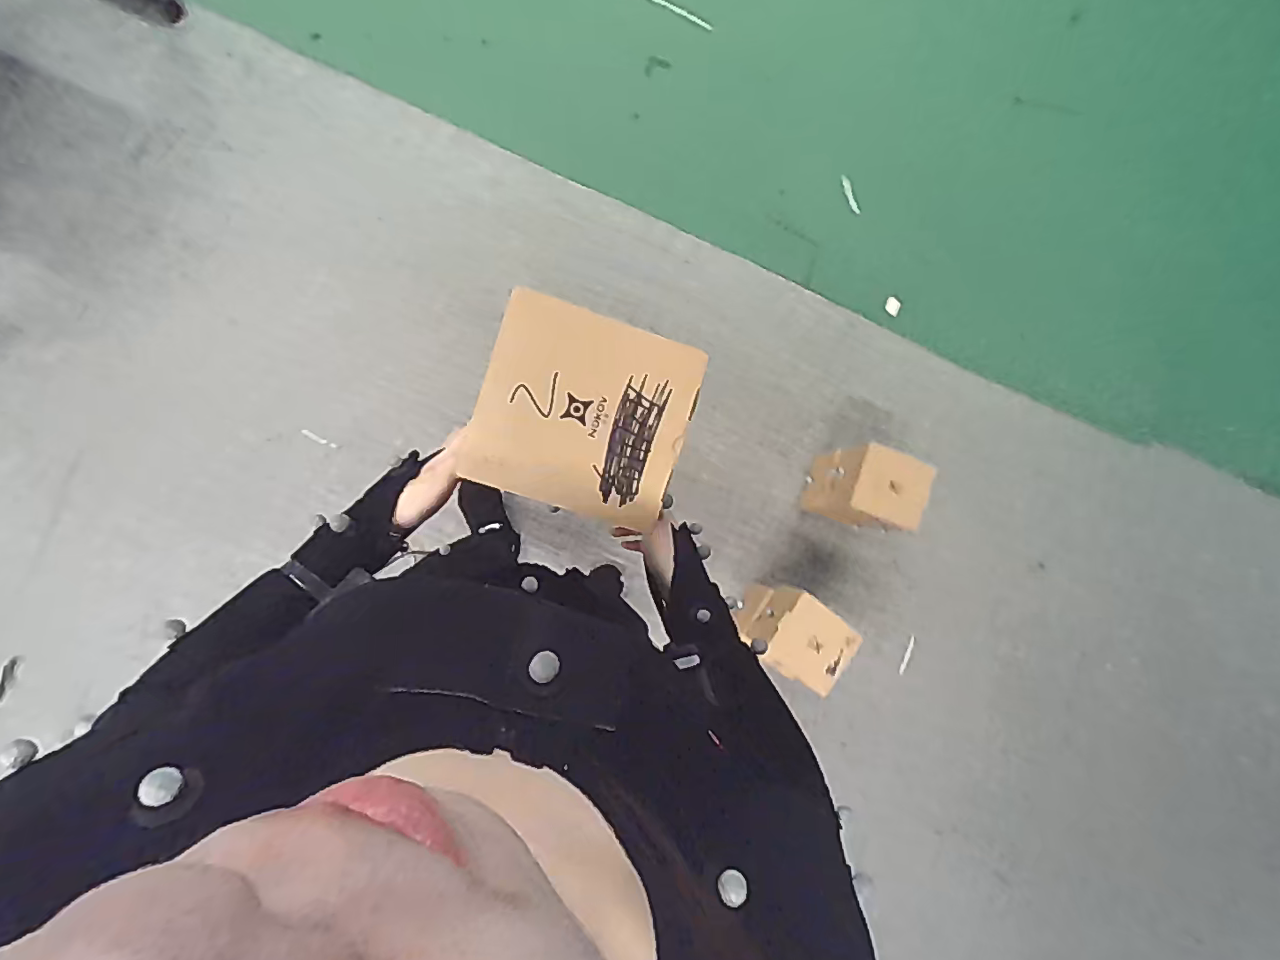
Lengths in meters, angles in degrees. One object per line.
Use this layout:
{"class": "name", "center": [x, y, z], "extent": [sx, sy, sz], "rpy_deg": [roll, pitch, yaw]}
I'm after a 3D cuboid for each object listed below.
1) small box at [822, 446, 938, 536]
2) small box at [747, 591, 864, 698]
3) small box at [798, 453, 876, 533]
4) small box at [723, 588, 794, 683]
{"class": "small box", "center": [0.582, 0.031, 1.327], "extent": [0.179, 0.176, 0.168], "rpy_deg": [21, 83, -2]}
{"class": "small box", "center": [0.380, 0.377, 1.279], "extent": [0.179, 0.176, 0.168], "rpy_deg": [38, 83, 0]}
{"class": "small box", "center": [0.566, 0.038, 1.488], "extent": [0.179, 0.176, 0.168], "rpy_deg": [21, 84, -3]}
{"class": "small box", "center": [0.348, 0.402, 1.438], "extent": [0.179, 0.176, 0.168], "rpy_deg": [35, 83, 0]}
